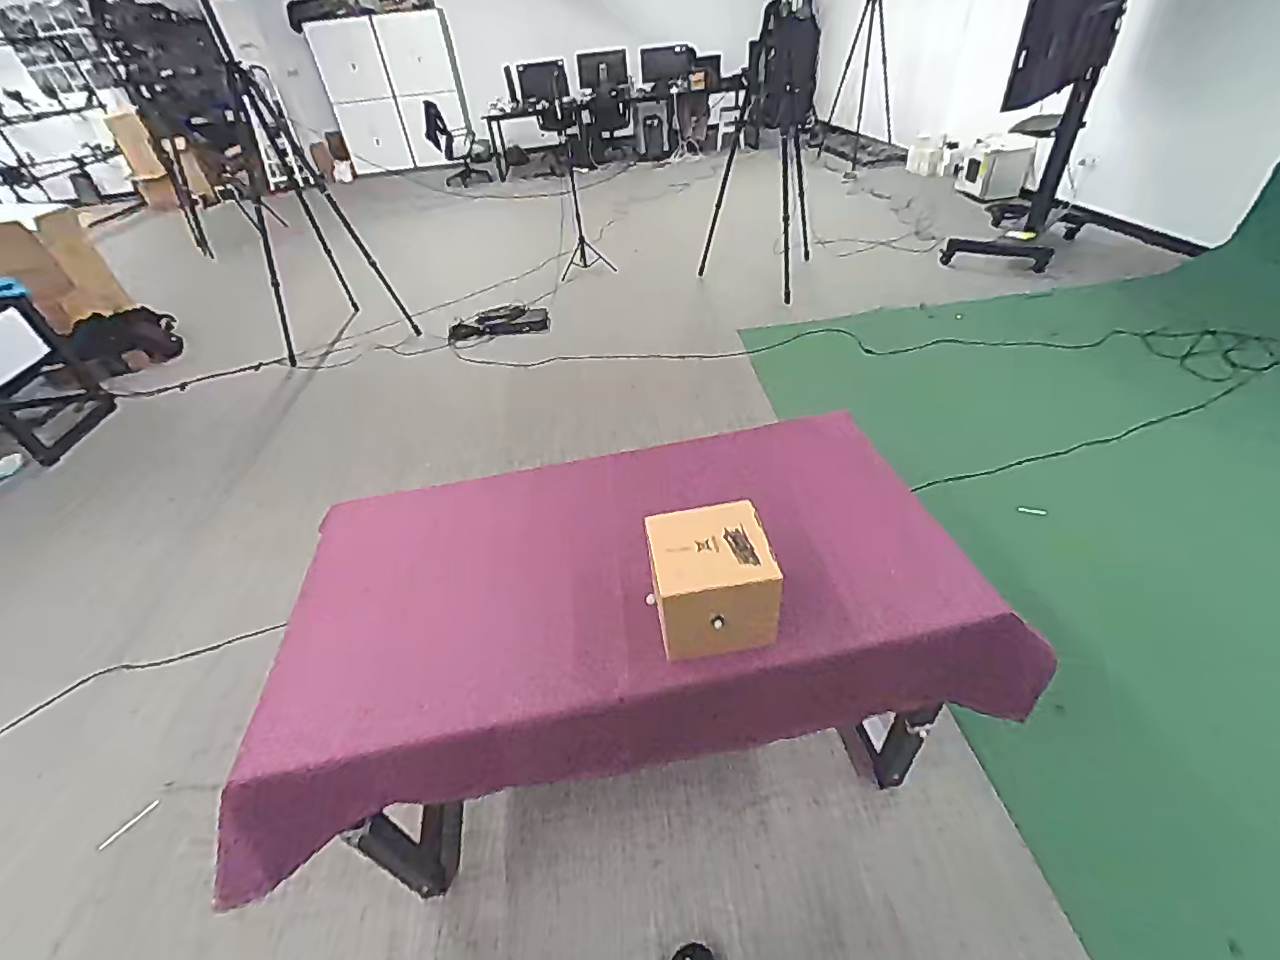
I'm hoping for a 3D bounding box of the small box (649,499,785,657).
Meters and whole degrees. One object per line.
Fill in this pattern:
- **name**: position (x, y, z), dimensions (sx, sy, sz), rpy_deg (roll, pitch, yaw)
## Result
- **small box**: position (0.115, 0.156, 0.858), dimensions (0.179, 0.176, 0.168), rpy_deg (-10, 40, -1)
